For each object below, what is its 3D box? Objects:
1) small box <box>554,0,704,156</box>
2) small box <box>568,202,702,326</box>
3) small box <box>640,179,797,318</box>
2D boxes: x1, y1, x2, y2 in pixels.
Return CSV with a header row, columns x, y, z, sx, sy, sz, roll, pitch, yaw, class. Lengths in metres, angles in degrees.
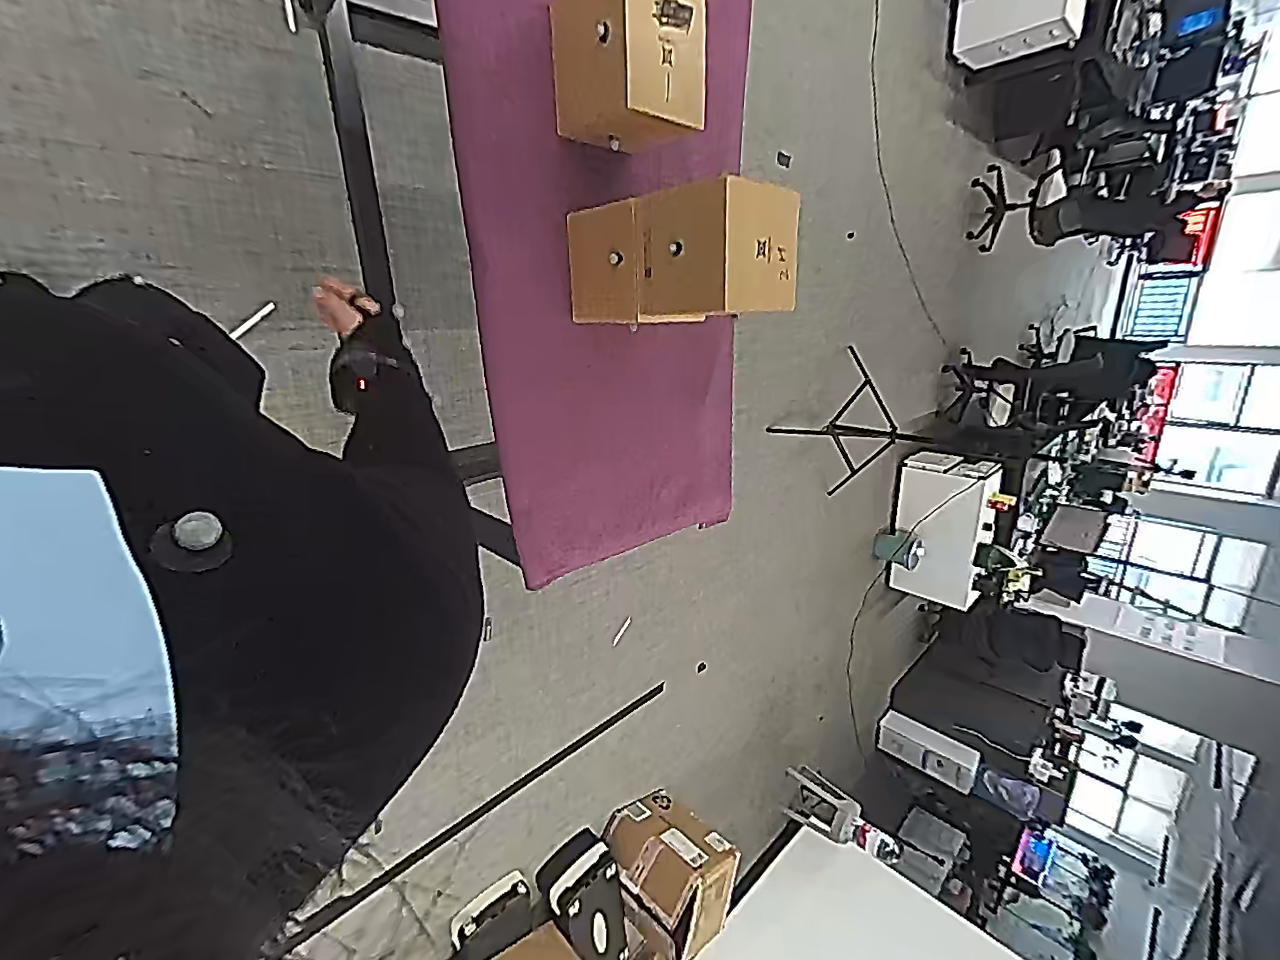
x,y,z,sx,sy,sz,roll,pitch,yaw,class
-0.019,-0.626,0.830,0.168,0.176,0.179,-17,114,-41,small box
-0.008,-0.356,0.921,0.168,0.176,0.179,-16,112,-42,small box
0.112,-0.332,0.810,0.179,0.176,0.168,-16,112,-42,small box
